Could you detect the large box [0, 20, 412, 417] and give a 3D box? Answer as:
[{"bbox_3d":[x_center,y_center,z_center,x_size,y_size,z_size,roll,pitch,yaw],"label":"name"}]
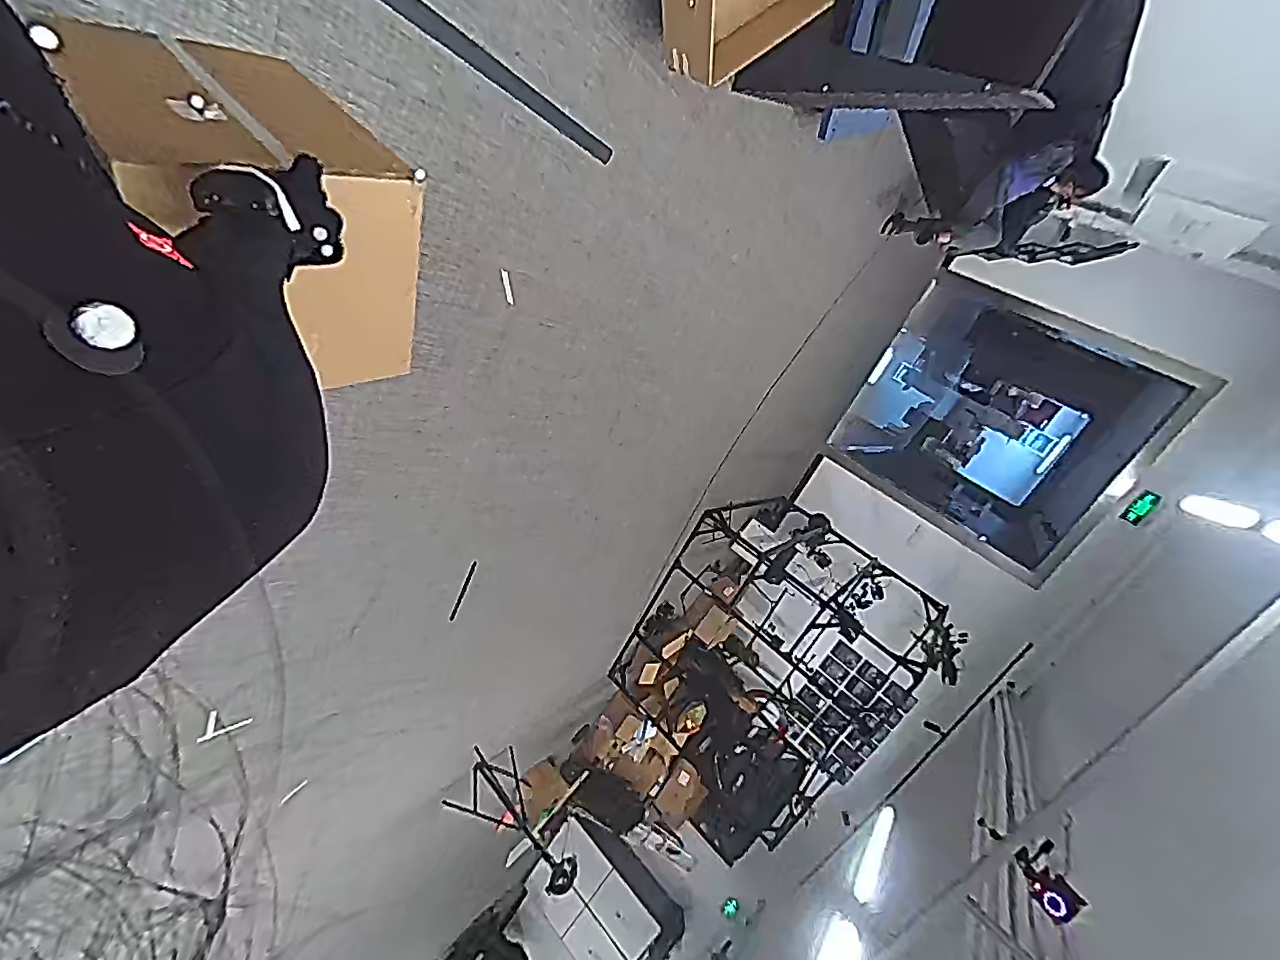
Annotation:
[{"bbox_3d":[-0.585,-0.356,0.769,0.320,0.408,0.320,-27,154,-42],"label":"large box"}]
